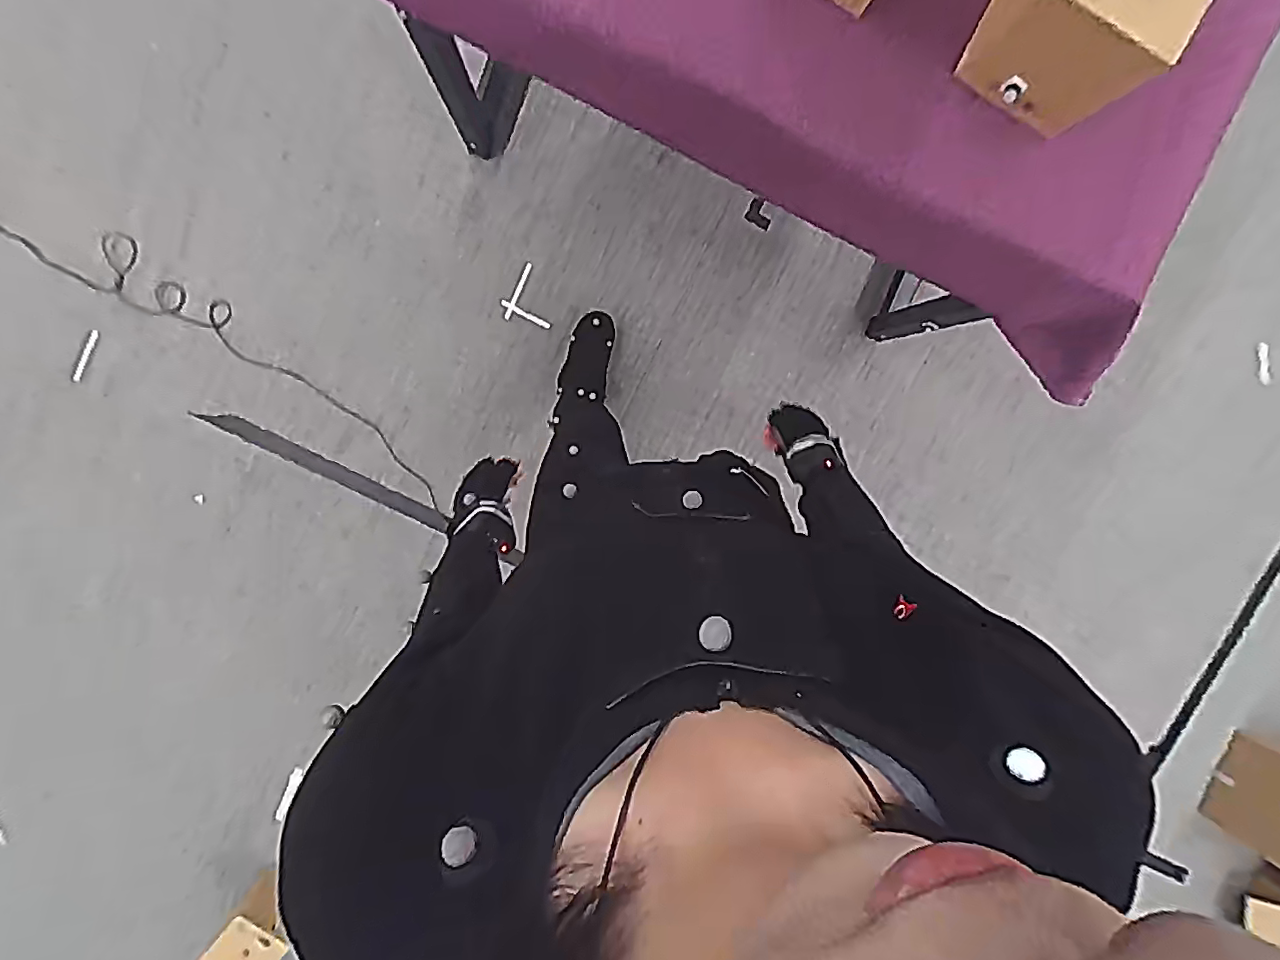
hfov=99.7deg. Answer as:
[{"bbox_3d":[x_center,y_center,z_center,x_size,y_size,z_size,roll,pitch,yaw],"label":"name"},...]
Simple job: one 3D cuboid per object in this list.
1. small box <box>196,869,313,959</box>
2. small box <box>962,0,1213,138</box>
[{"bbox_3d":[-1.055,1.243,1.497,0.168,0.176,0.179,42,93,-9],"label":"small box"},{"bbox_3d":[0.531,-0.561,0.641,0.168,0.176,0.179,26,96,-6],"label":"small box"}]
